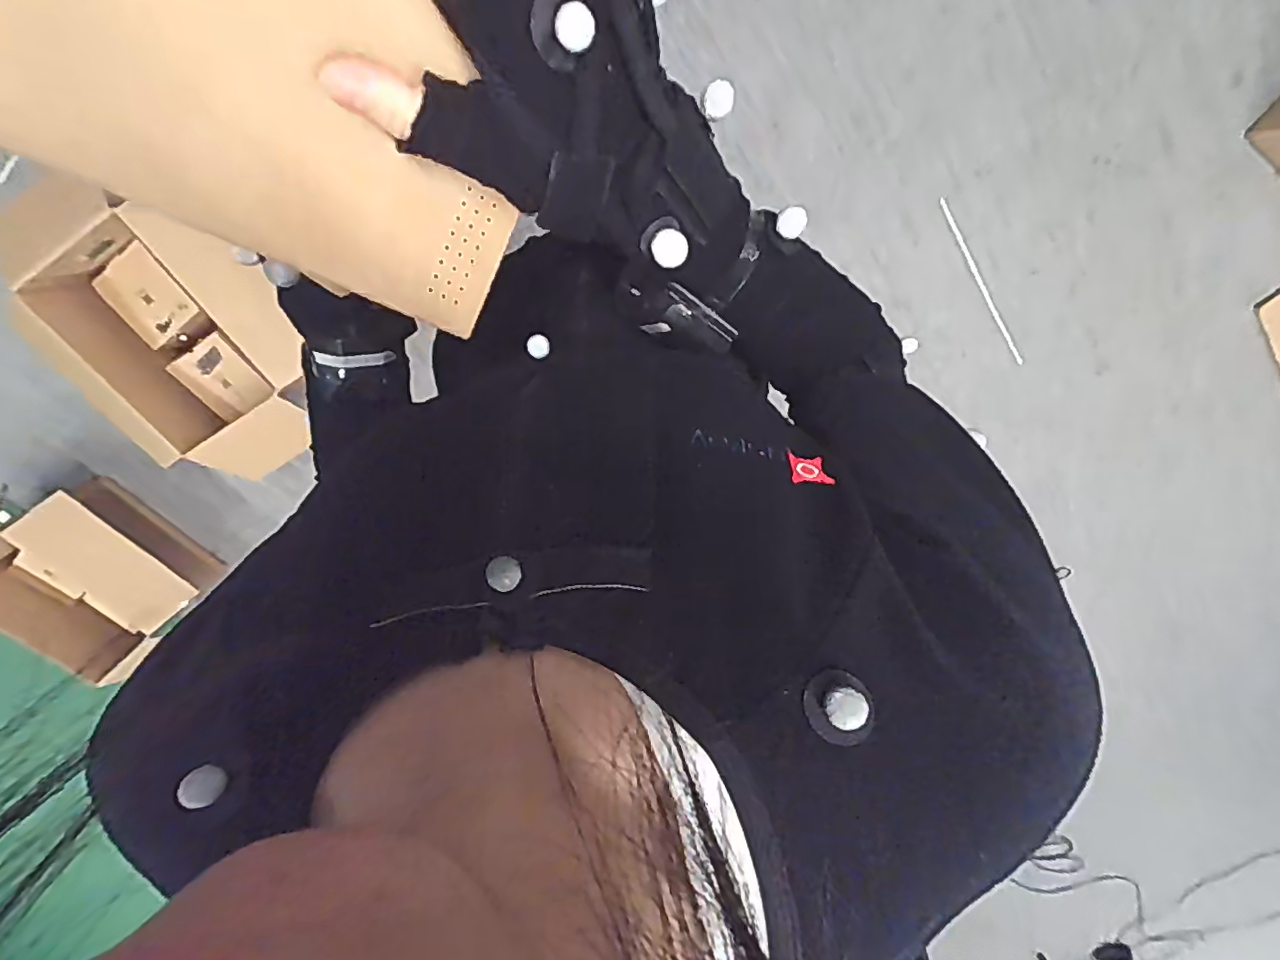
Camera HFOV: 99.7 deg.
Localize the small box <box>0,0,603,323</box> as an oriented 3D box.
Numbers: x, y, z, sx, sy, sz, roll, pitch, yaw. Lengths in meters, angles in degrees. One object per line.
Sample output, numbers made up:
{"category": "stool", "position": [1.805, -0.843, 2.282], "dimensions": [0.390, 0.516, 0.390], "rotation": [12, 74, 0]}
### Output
{"category": "small box", "position": [-0.140, -0.193, 0.220], "dimensions": [0.176, 0.168, 0.179], "rotation": [13, 106, -53]}
